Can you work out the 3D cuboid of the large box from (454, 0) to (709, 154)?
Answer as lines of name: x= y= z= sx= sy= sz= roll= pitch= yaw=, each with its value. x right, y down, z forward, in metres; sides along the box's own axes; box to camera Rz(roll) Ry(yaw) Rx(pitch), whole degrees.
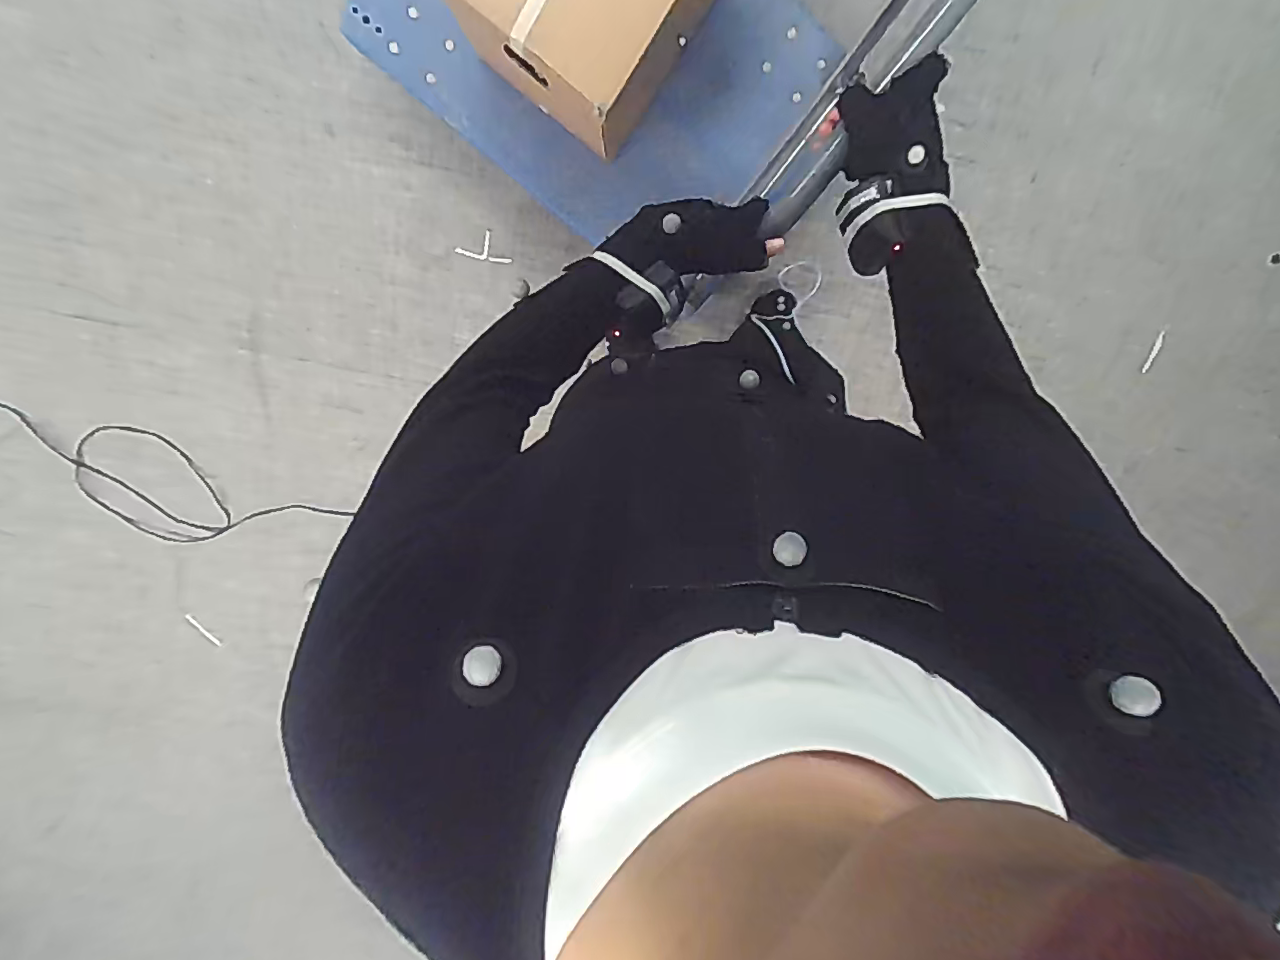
large box: x=-0.056 y=-0.846 z=0.885 sx=0.320 sy=0.320 sz=0.408 roll=33 pitch=107 yaw=-11
